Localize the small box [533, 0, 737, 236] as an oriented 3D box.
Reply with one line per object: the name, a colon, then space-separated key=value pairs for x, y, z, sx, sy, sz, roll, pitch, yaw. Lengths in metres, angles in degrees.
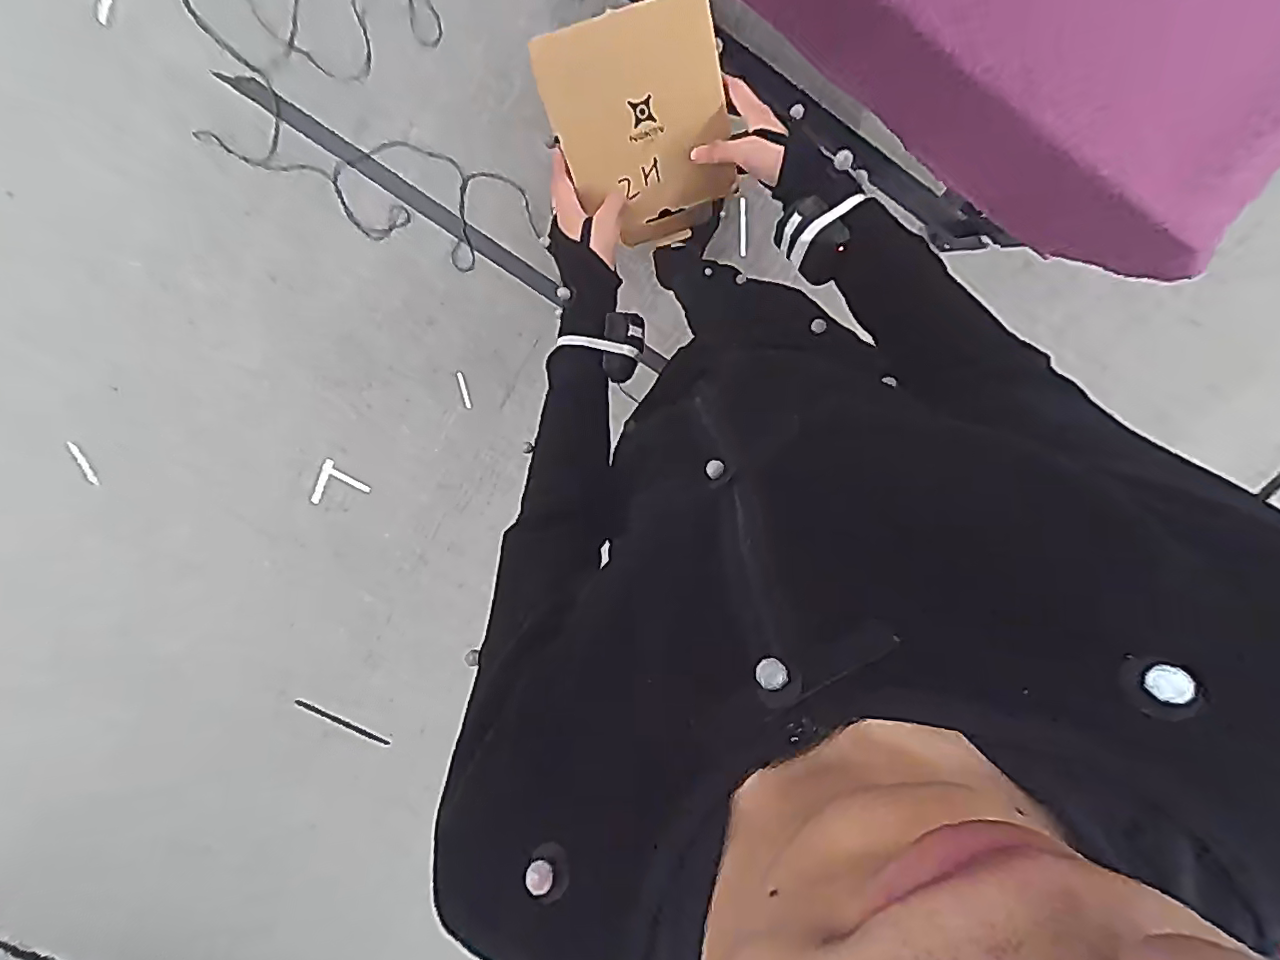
small box: x=-0.010 y=-0.386 z=0.590 sx=0.168 sy=0.176 sz=0.179 roll=-18 pitch=121 yaw=1
